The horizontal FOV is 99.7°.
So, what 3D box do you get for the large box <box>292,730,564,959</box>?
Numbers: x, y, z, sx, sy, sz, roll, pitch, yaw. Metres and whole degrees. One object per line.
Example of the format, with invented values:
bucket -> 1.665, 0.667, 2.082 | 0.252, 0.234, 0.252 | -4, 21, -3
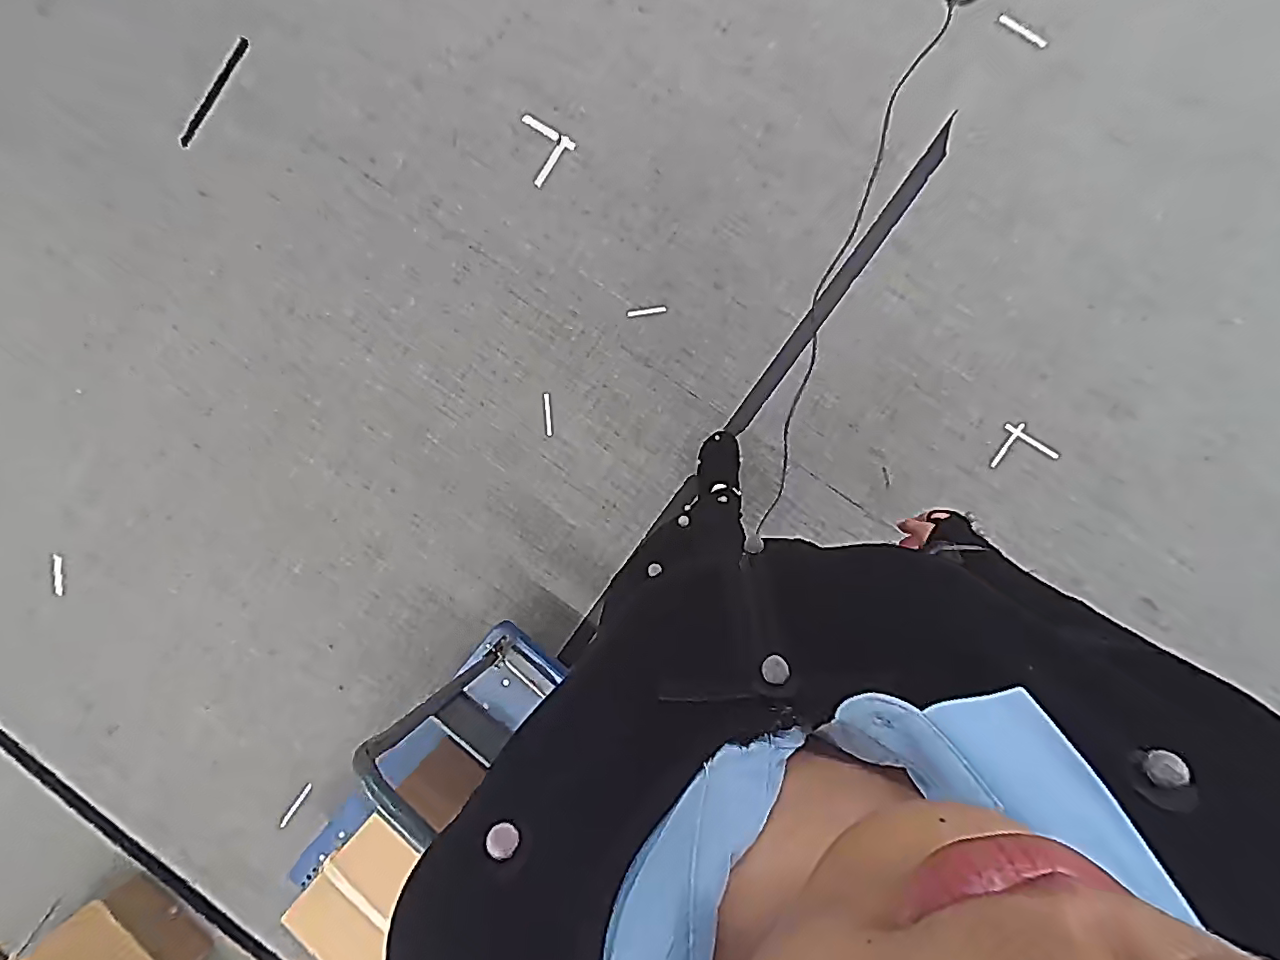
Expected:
large box -> -0.440, 0.861, 1.208 | 0.408, 0.320, 0.320 | 41, 93, 3
